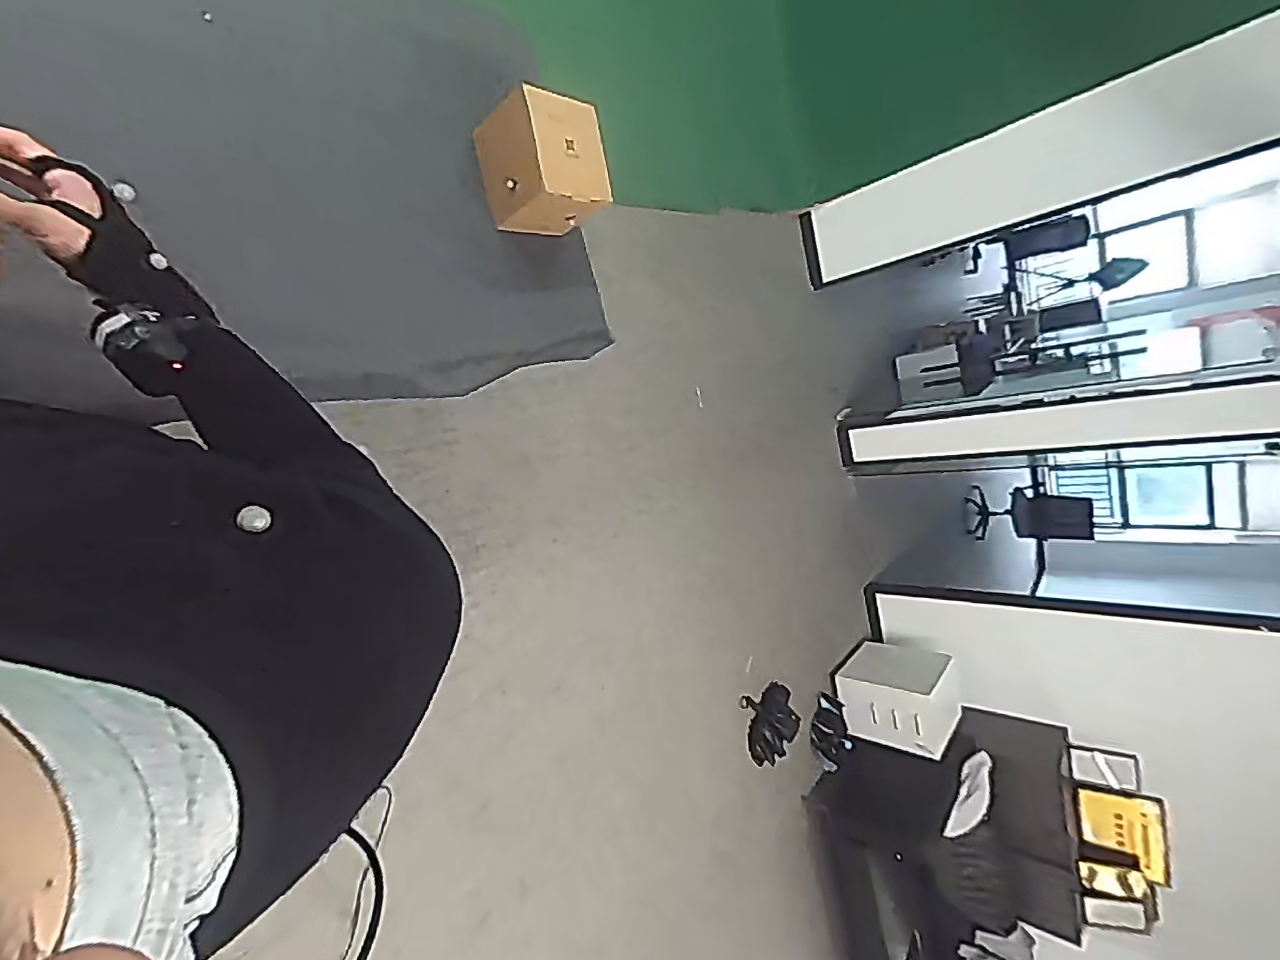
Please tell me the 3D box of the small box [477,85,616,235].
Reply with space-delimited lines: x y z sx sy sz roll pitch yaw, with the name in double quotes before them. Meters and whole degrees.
"small box" -0.174 -0.573 0.999 0.168 0.176 0.179 -21 101 -45
